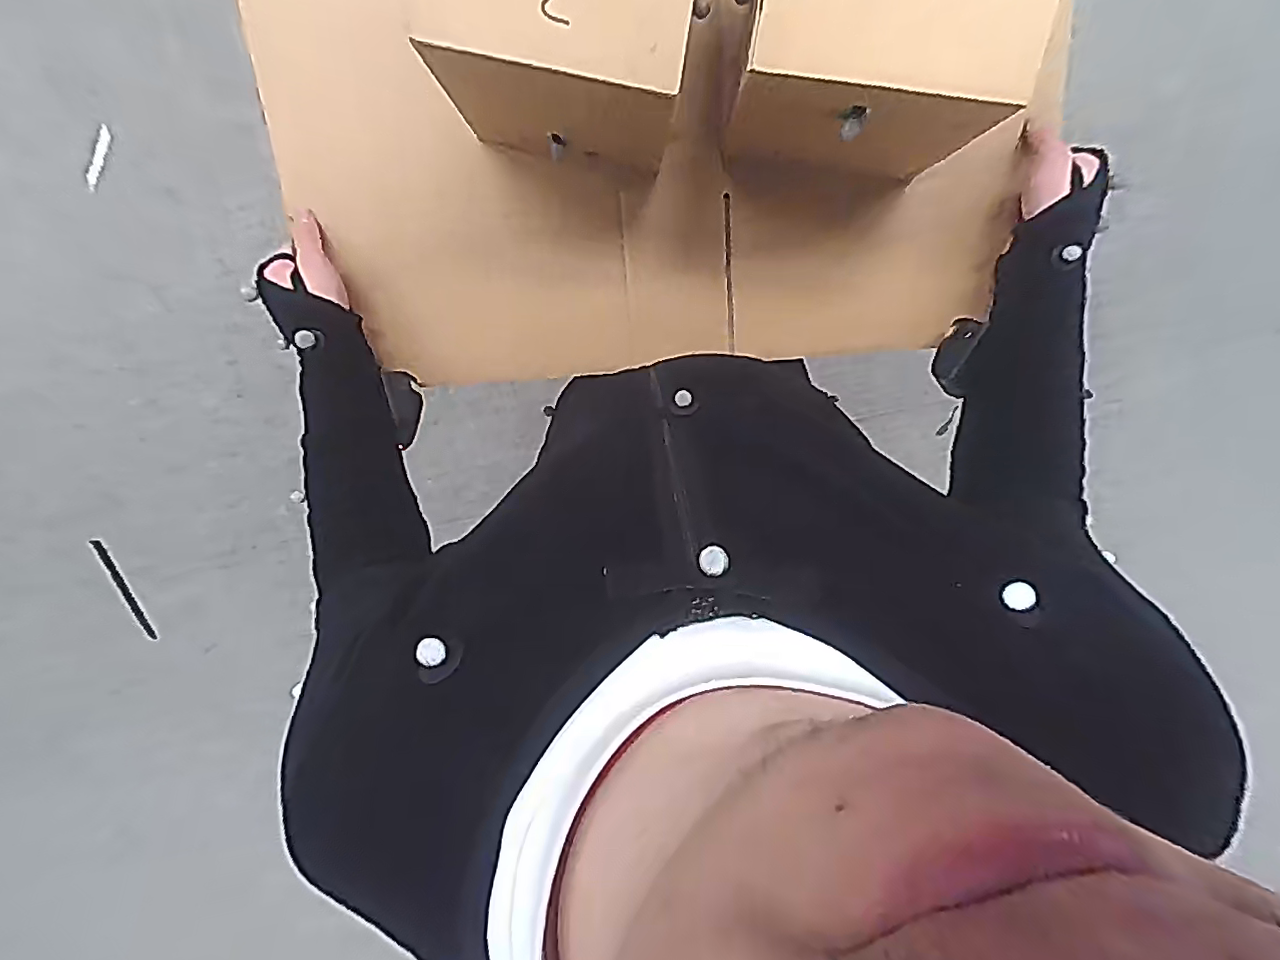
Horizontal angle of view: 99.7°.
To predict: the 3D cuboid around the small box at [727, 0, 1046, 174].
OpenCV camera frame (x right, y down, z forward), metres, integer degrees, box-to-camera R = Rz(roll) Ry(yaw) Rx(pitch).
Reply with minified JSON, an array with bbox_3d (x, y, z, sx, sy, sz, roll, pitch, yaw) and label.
[{"bbox_3d":[0.171,-0.346,0.403,0.179,0.176,0.168,8,106,2],"label":"small box"}]
